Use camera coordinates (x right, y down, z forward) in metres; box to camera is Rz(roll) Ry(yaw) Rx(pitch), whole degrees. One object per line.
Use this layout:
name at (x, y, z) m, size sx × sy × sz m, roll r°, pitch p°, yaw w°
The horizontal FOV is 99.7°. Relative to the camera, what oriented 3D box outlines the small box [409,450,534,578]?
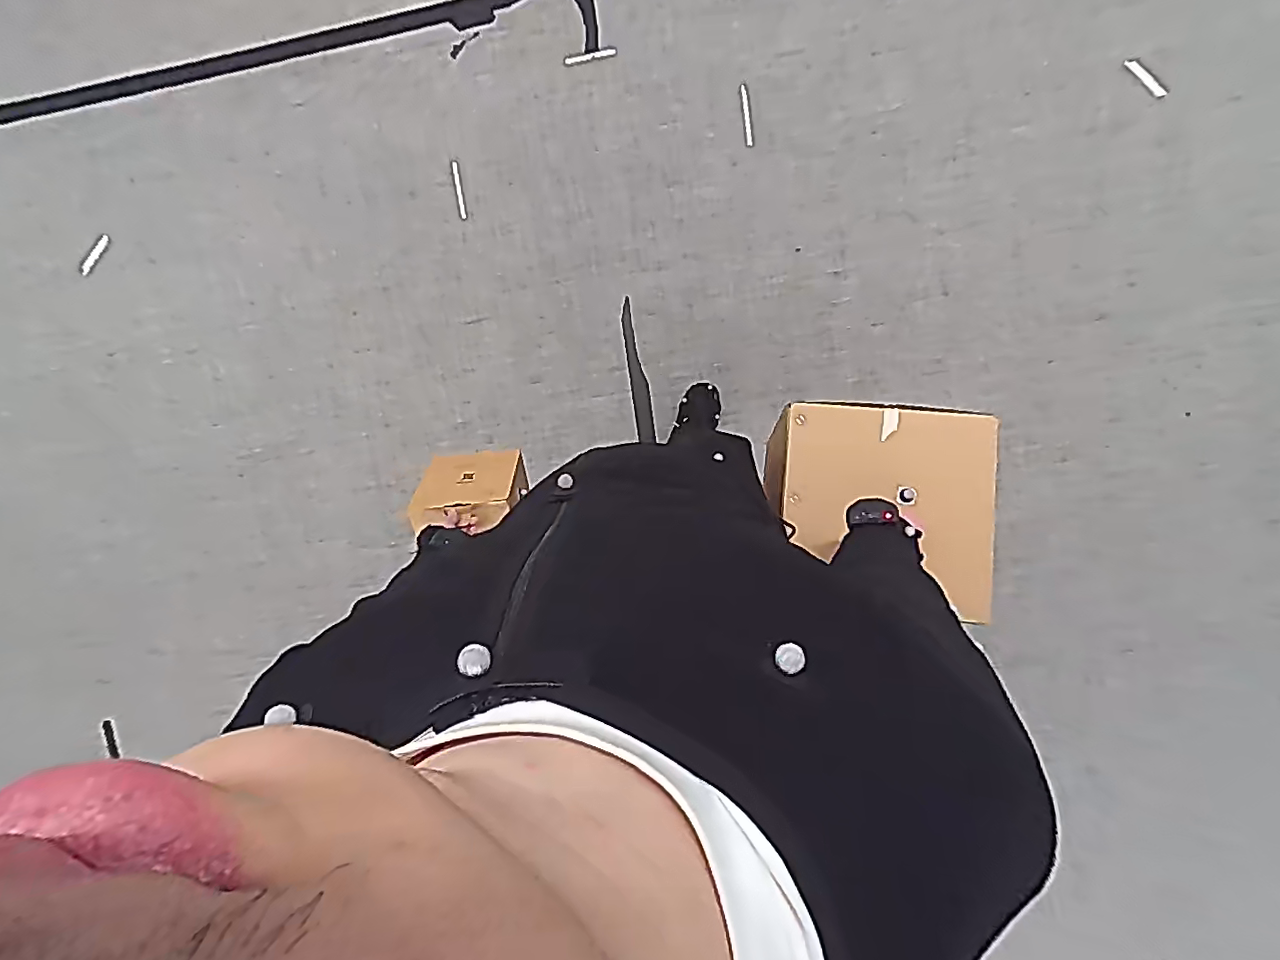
small box at (-0.295, 0.066, 0.992) m, size 0.168 × 0.179 × 0.176 m, roll -6°, pitch 121°, yaw -1°
